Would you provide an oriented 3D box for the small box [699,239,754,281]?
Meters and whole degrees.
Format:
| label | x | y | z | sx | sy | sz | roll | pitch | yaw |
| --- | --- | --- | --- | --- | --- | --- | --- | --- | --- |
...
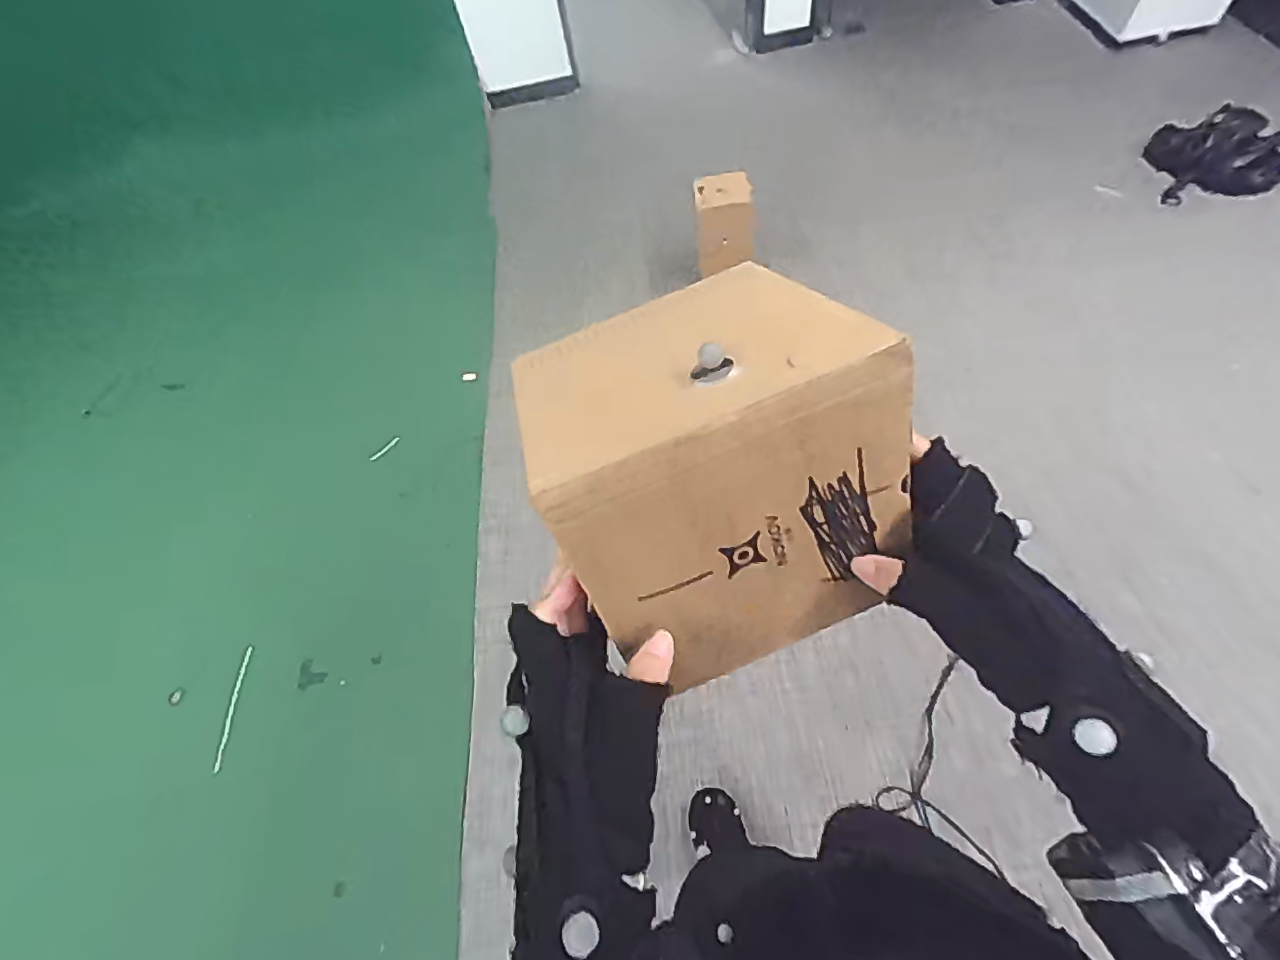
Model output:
| label | x | y | z | sx | sy | sz | roll | pitch | yaw |
| --- | --- | --- | --- | --- | --- | --- | --- | --- | --- |
| small box | 0.305 | -0.798 | 1.937 | 0.179 | 0.176 | 0.168 | -7 | 59 | 6 |

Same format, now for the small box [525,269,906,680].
| label | x | y | z | sx | sy | sz | roll | pitch | yaw |
| --- | --- | --- | --- | --- | --- | --- | --- | --- | --- |
| small box | 0.040 | -0.015 | 0.347 | 0.179 | 0.168 | 0.176 | -22 | 35 | -1 |

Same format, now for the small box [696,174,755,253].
| label | x | y | z | sx | sy | sz | roll | pitch | yaw |
| --- | --- | --- | --- | --- | --- | --- | --- | --- | --- |
| small box | 0.280 | -0.881 | 1.798 | 0.179 | 0.176 | 0.168 | -4 | 59 | 5 |
